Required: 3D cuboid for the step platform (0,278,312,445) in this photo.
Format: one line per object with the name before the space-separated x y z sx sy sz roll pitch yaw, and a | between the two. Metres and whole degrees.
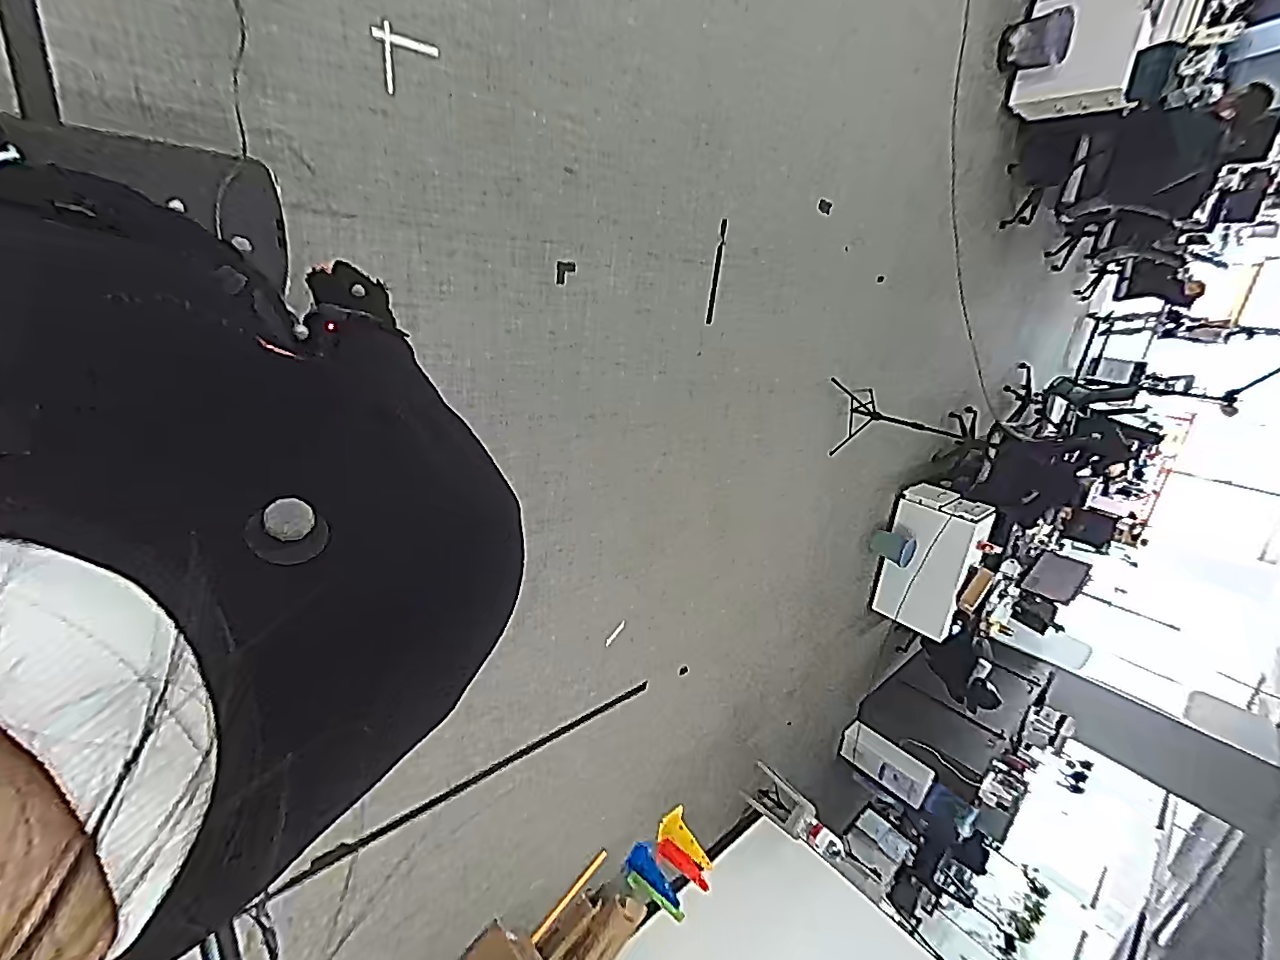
step platform | -1.033 -0.238 1.046 0.684 0.204 0.286 -13 116 -39
